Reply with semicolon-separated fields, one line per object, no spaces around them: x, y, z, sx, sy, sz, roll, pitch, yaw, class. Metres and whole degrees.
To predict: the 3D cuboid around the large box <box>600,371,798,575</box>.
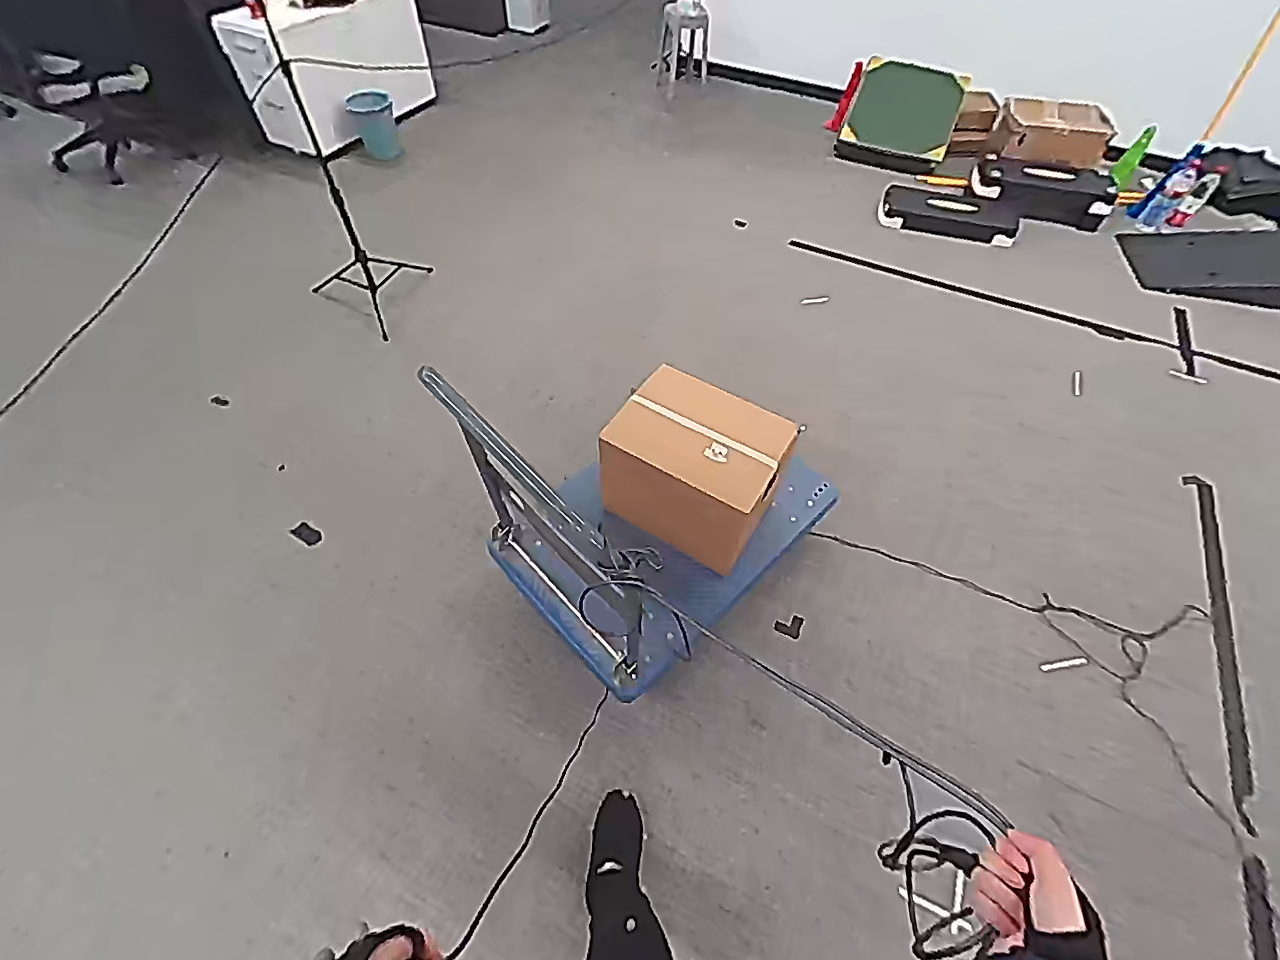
0.139;-0.019;1.434;0.408;0.320;0.320;28;58;16;large box
